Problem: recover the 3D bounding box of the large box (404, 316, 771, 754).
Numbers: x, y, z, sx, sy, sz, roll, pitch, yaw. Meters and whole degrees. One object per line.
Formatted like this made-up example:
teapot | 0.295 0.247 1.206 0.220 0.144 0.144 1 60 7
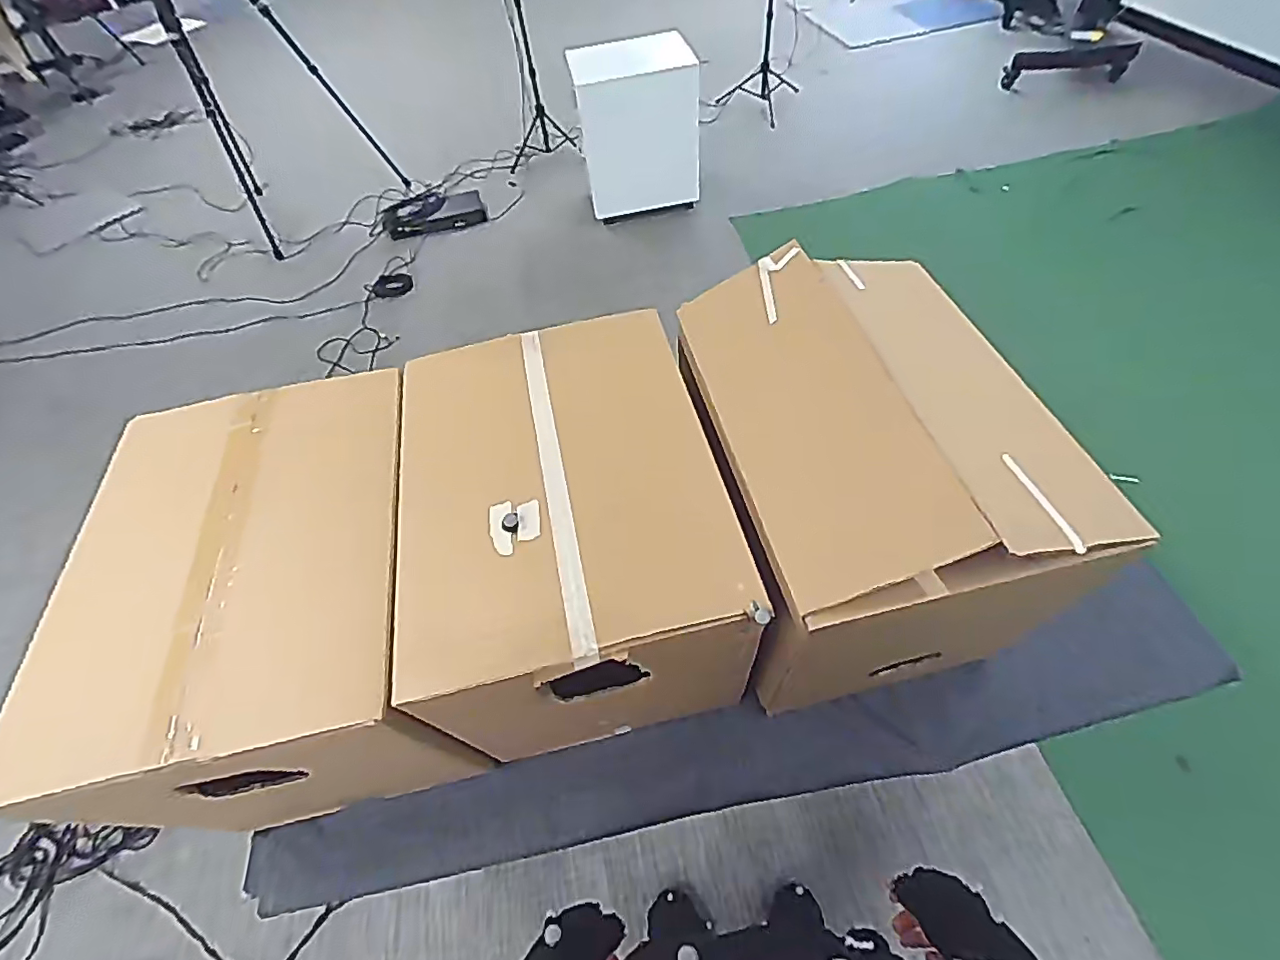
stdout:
large box | -0.074 0.069 0.670 0.320 0.320 0.408 -14 56 -3
